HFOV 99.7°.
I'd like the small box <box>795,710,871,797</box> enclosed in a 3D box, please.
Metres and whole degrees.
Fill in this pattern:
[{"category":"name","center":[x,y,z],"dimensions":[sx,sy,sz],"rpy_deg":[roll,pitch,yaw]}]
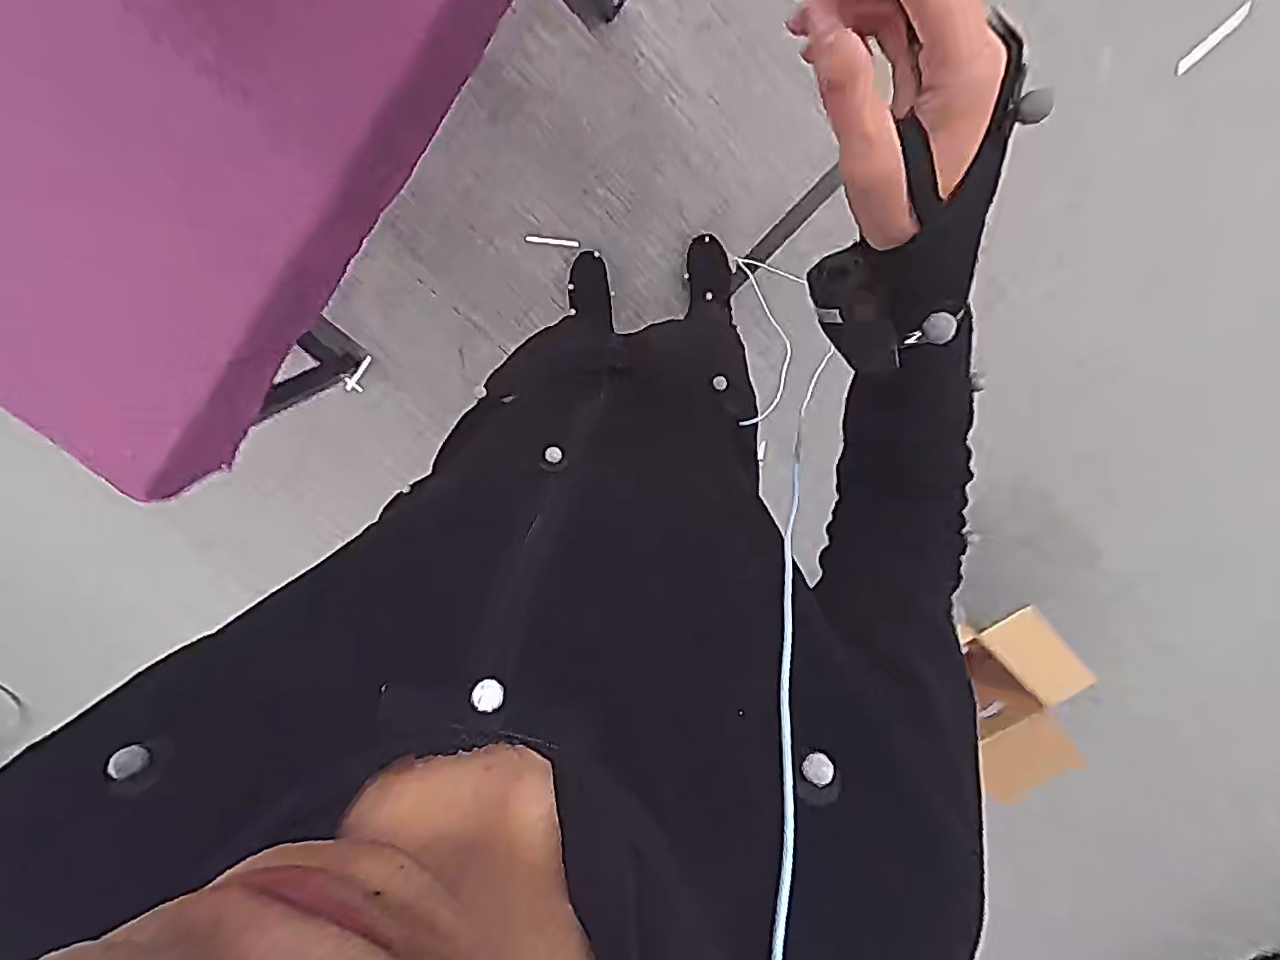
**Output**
[{"category":"small box","center":[0.649,0.931,1.846],"dimensions":[0.179,0.176,0.168],"rpy_deg":[-41,105,20]}]
